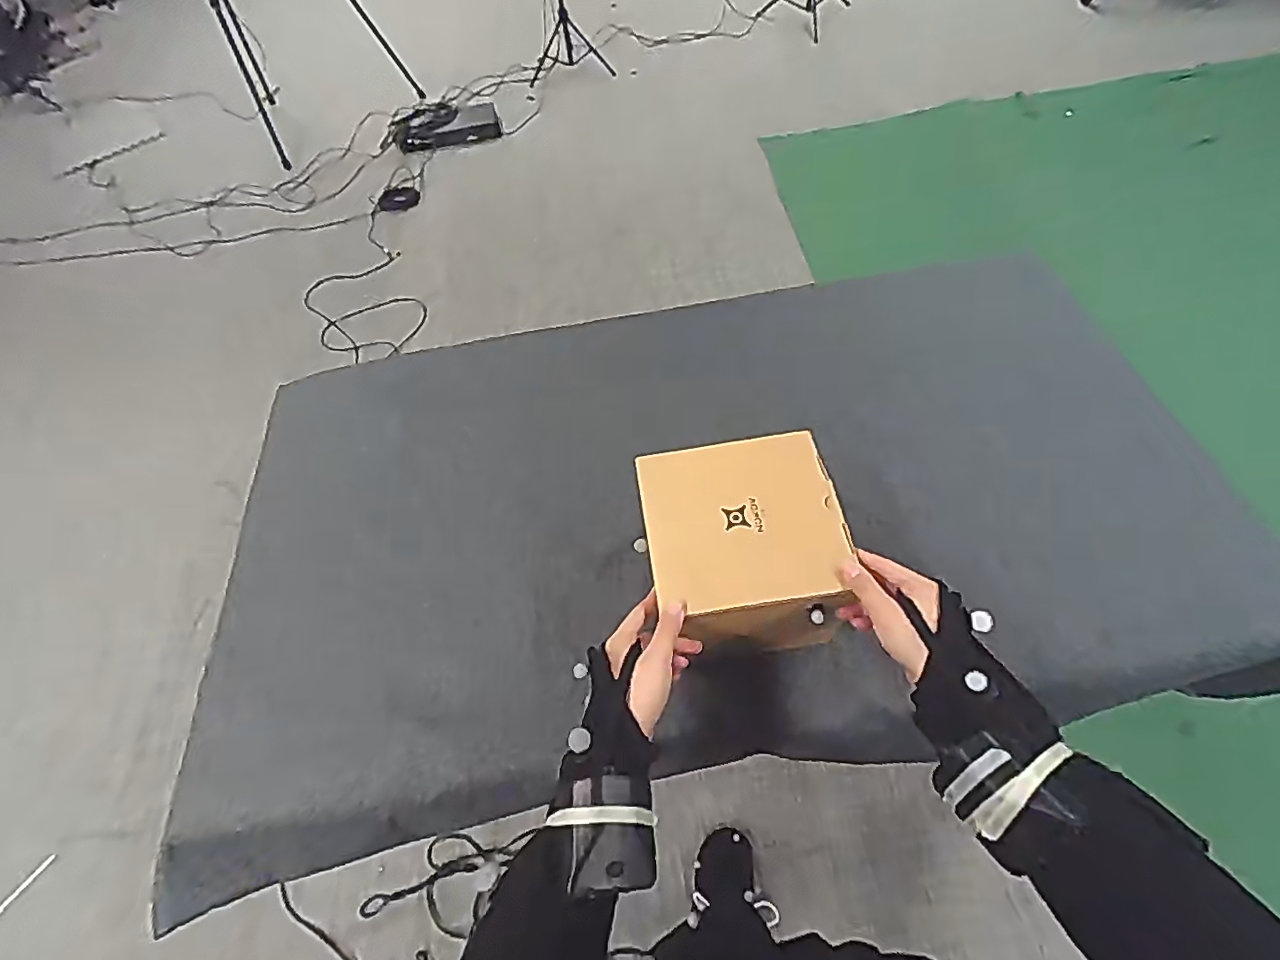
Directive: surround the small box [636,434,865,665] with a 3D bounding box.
[{"bbox_3d":[0.099,0.078,0.552,0.179,0.176,0.168,-9,58,0],"label":"small box"}]
